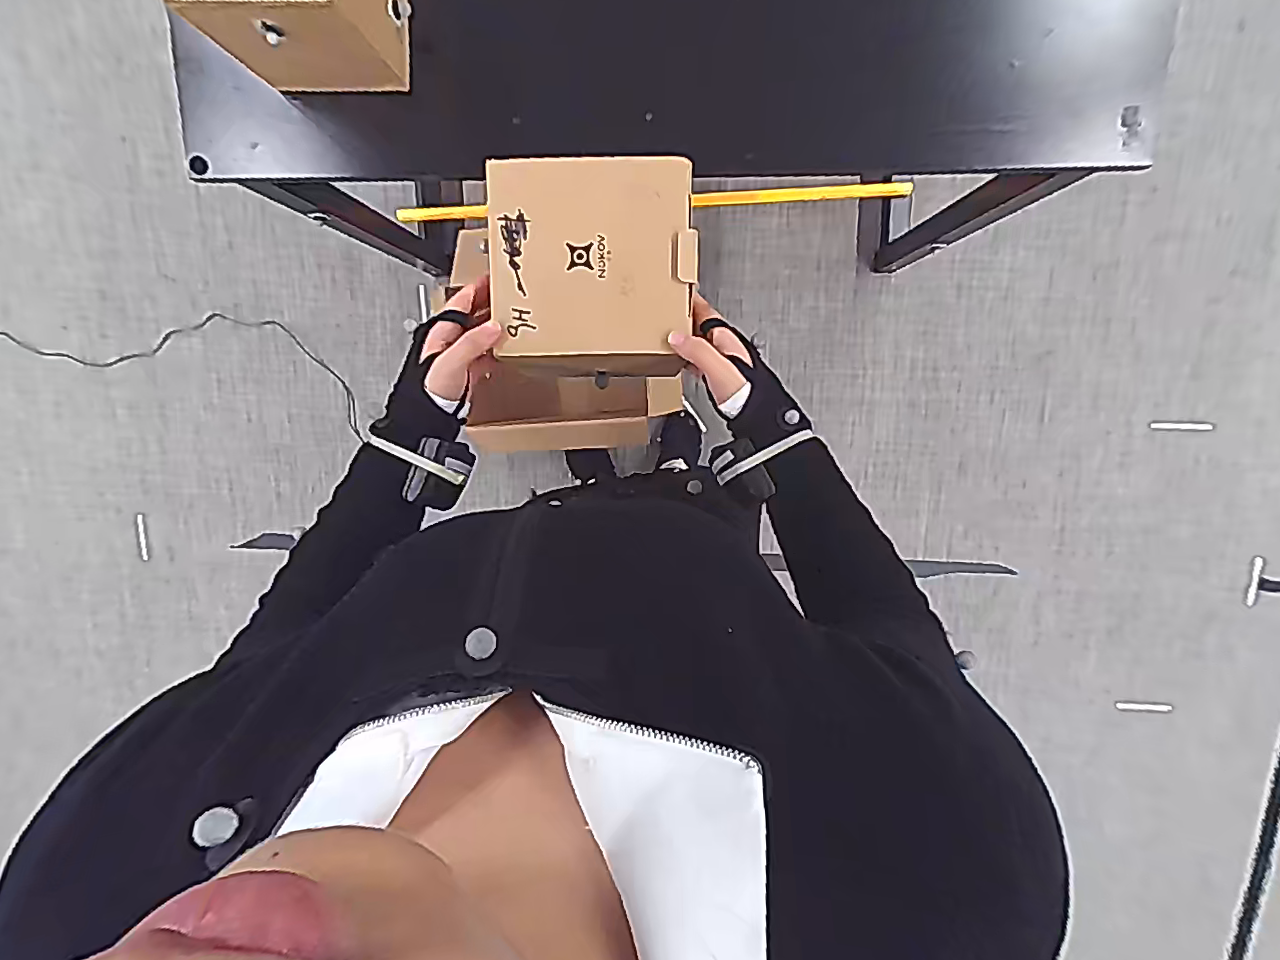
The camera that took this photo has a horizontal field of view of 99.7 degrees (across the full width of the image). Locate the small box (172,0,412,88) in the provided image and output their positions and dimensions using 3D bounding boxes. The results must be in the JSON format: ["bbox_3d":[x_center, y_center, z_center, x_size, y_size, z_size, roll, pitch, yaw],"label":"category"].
[{"bbox_3d":[-0.368,-0.550,0.575,0.179,0.176,0.168,1,101,1],"label":"small box"}]

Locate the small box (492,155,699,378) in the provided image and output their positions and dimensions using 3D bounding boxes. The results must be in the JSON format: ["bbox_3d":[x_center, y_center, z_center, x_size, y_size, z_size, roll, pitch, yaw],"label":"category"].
[{"bbox_3d":[-0.040,-0.194,0.537,0.179,0.176,0.168,-1,94,-1],"label":"small box"}]
